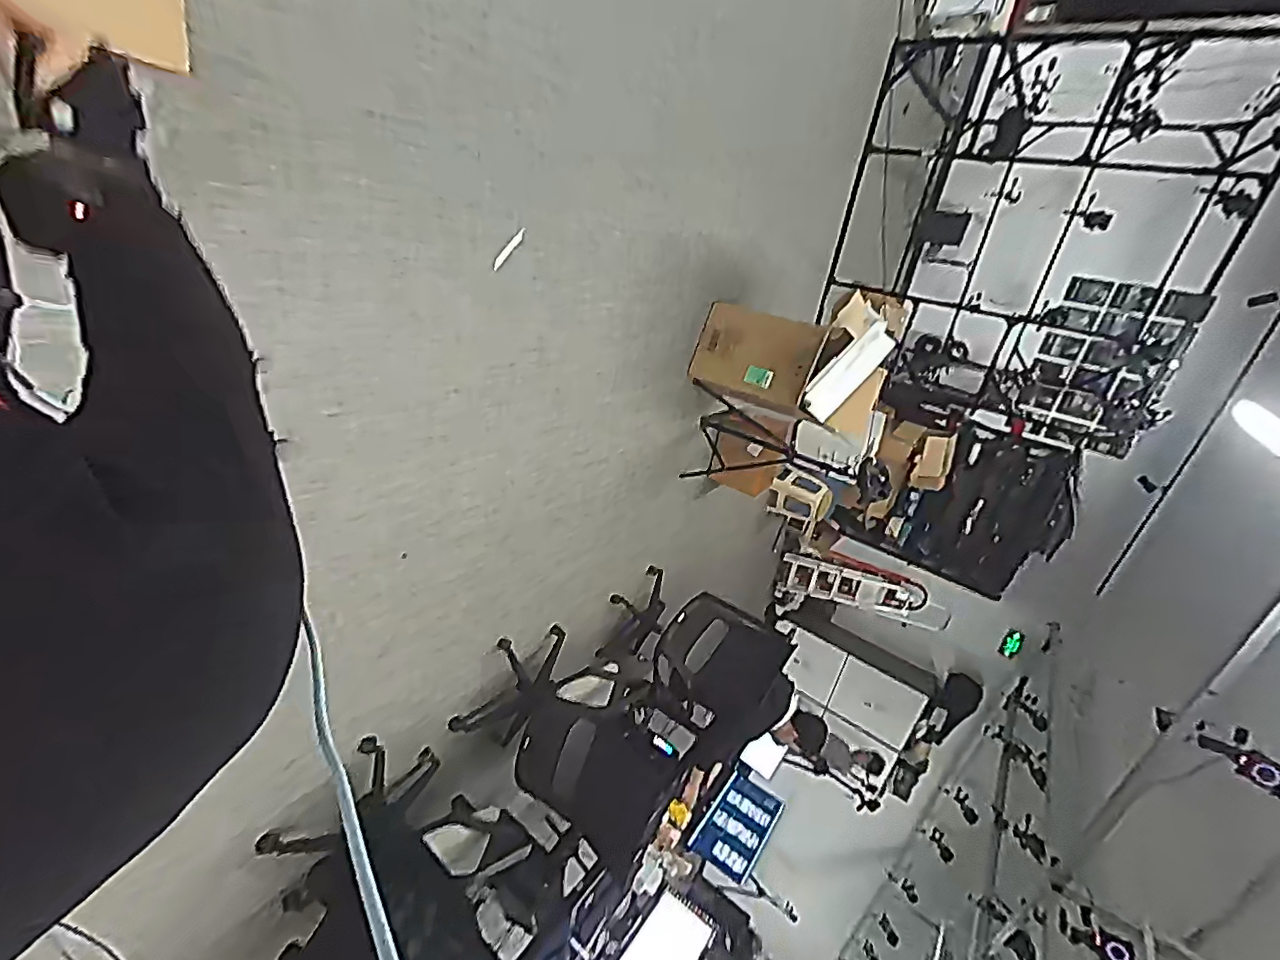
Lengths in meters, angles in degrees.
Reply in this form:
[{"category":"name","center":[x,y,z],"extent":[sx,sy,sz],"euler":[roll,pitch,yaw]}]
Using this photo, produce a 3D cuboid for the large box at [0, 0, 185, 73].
[{"category":"large box","center":[-0.852,-0.726,0.625],"extent":[0.408,0.320,0.320],"euler":[-20,128,-53]}]
